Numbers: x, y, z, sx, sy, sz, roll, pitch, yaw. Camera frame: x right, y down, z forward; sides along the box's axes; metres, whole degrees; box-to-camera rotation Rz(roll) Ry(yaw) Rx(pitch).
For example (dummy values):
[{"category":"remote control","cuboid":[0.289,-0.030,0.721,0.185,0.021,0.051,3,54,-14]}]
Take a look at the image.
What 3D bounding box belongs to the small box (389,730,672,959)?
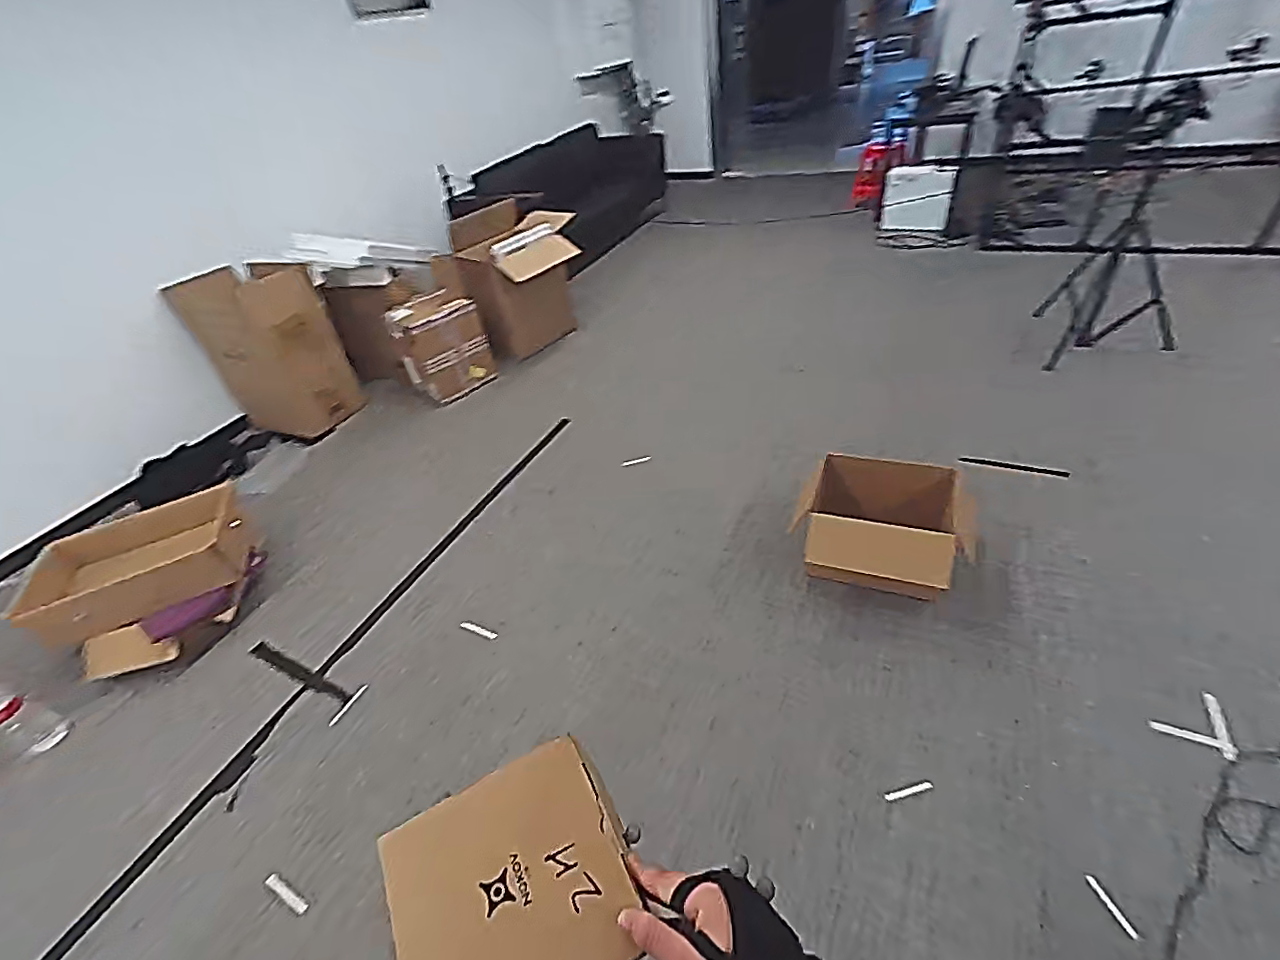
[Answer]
[{"category":"small box","cuboid":[-0.084,0.356,0.470,0.179,0.176,0.168,-24,54,-13]}]
